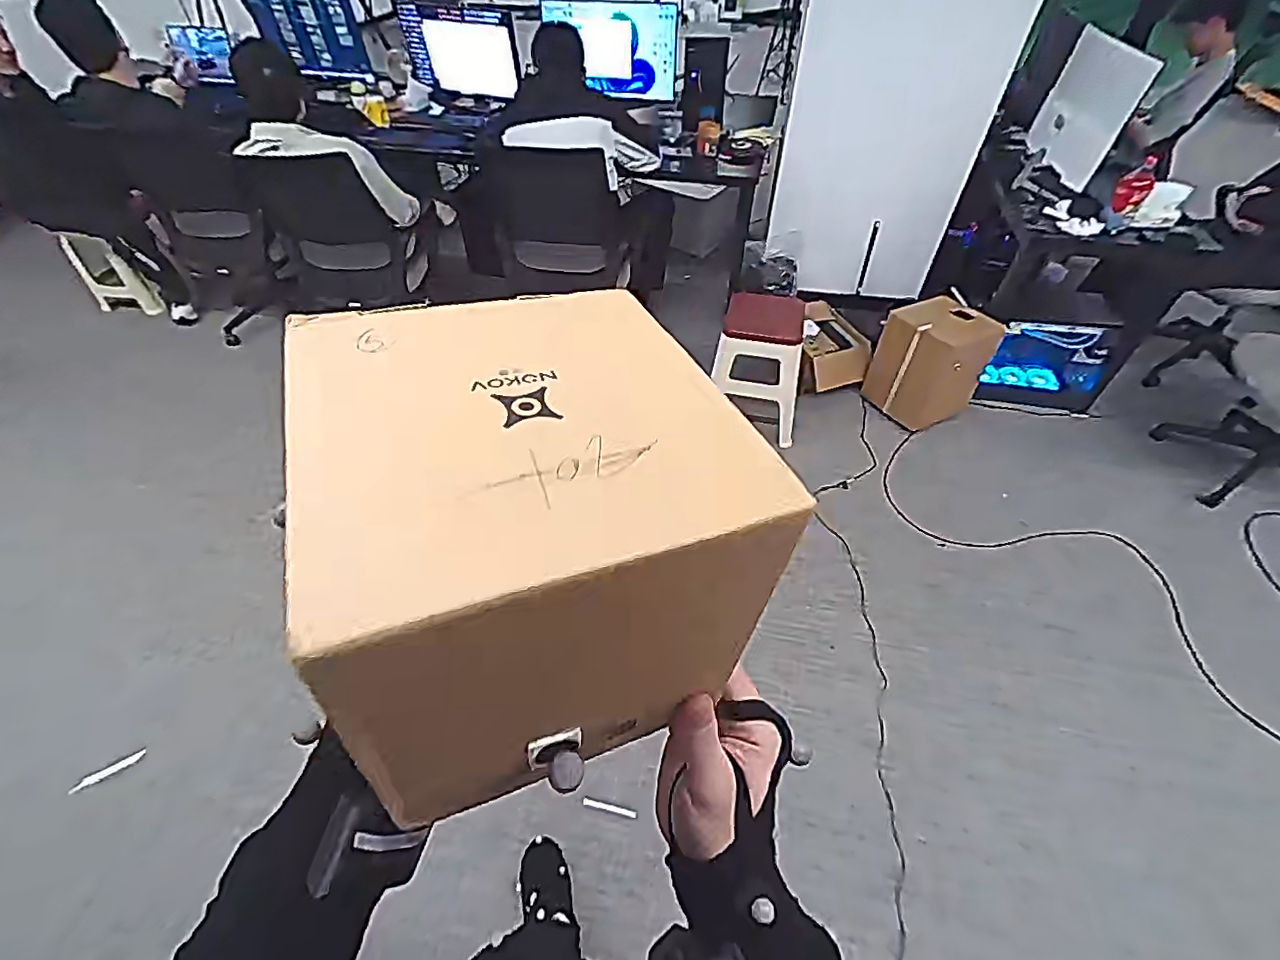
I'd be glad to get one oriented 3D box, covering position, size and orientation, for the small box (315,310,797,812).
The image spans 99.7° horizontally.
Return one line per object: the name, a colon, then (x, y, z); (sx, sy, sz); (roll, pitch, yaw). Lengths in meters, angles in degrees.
small box: (-0.056, 0.032, 0.286); (0.168, 0.176, 0.179); (-14, 48, -22)
